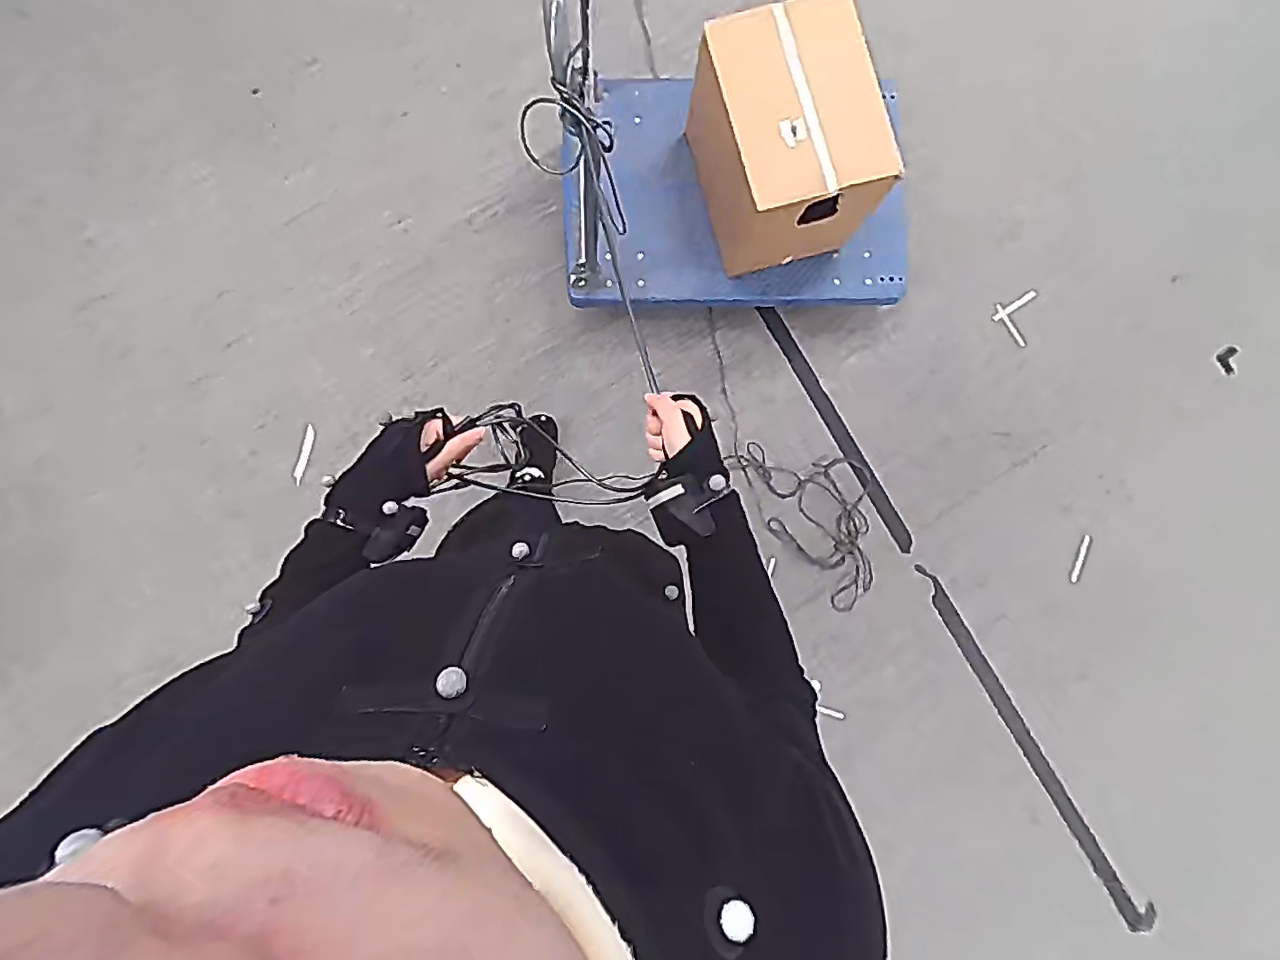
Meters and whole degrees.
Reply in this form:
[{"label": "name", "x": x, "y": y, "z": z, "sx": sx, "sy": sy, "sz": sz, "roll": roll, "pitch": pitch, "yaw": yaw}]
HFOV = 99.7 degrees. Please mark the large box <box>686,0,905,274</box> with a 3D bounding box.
[{"label": "large box", "x": 0.320, "y": -0.748, "z": 1.220, "sx": 0.320, "sy": 0.320, "sz": 0.408, "roll": -16, "pitch": 89, "yaw": -2}]
